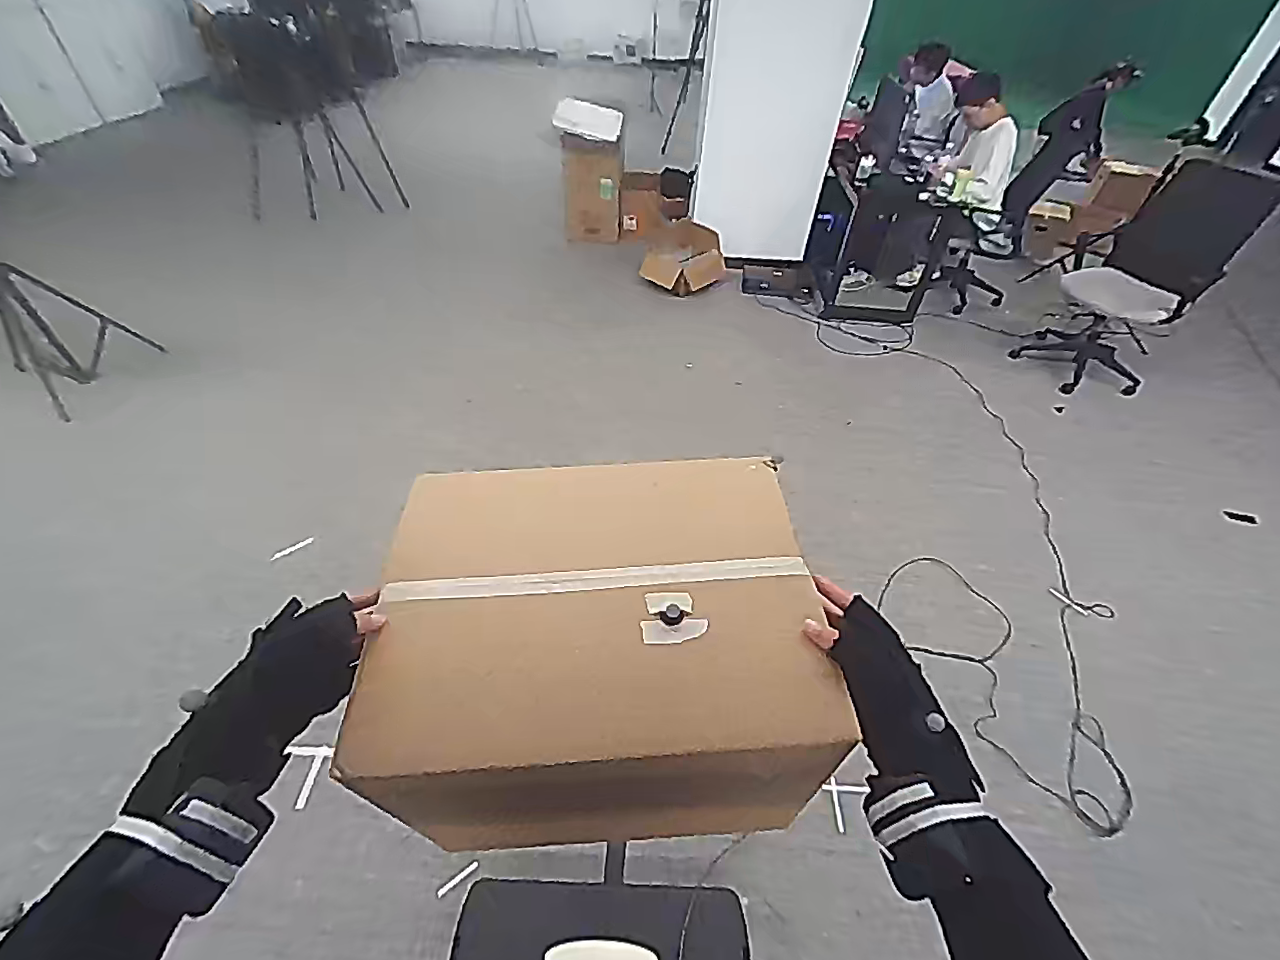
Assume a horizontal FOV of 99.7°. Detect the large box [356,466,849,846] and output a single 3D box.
[{"bbox_3d":[-0.037,0.206,0.636,0.408,0.320,0.320,-2,47,-2],"label":"large box"}]
